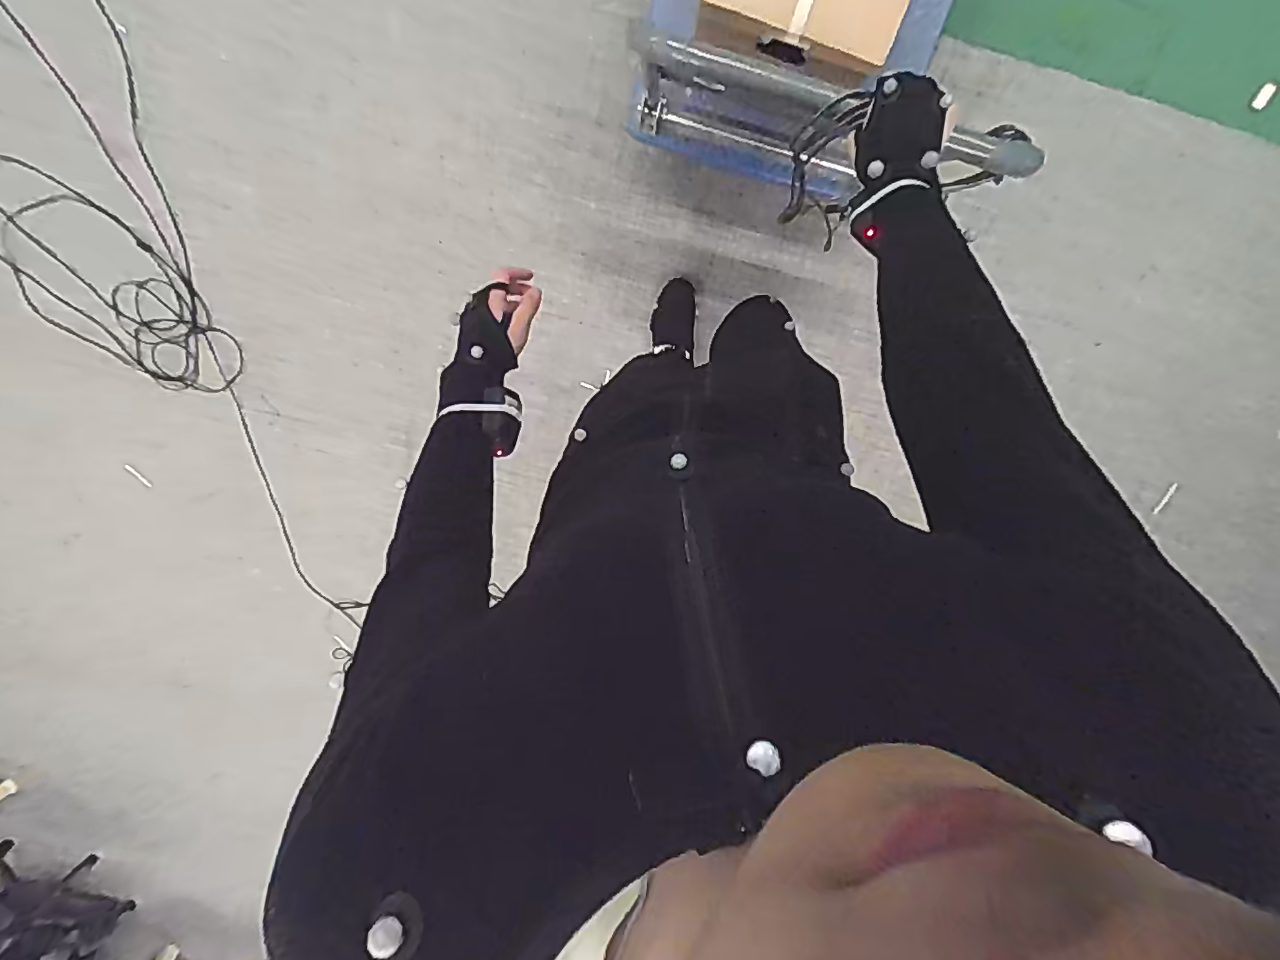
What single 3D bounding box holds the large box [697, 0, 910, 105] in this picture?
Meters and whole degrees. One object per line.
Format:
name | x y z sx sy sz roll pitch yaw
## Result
large box | 0.303 -0.930 0.899 0.320 0.320 0.408 17 112 -5
